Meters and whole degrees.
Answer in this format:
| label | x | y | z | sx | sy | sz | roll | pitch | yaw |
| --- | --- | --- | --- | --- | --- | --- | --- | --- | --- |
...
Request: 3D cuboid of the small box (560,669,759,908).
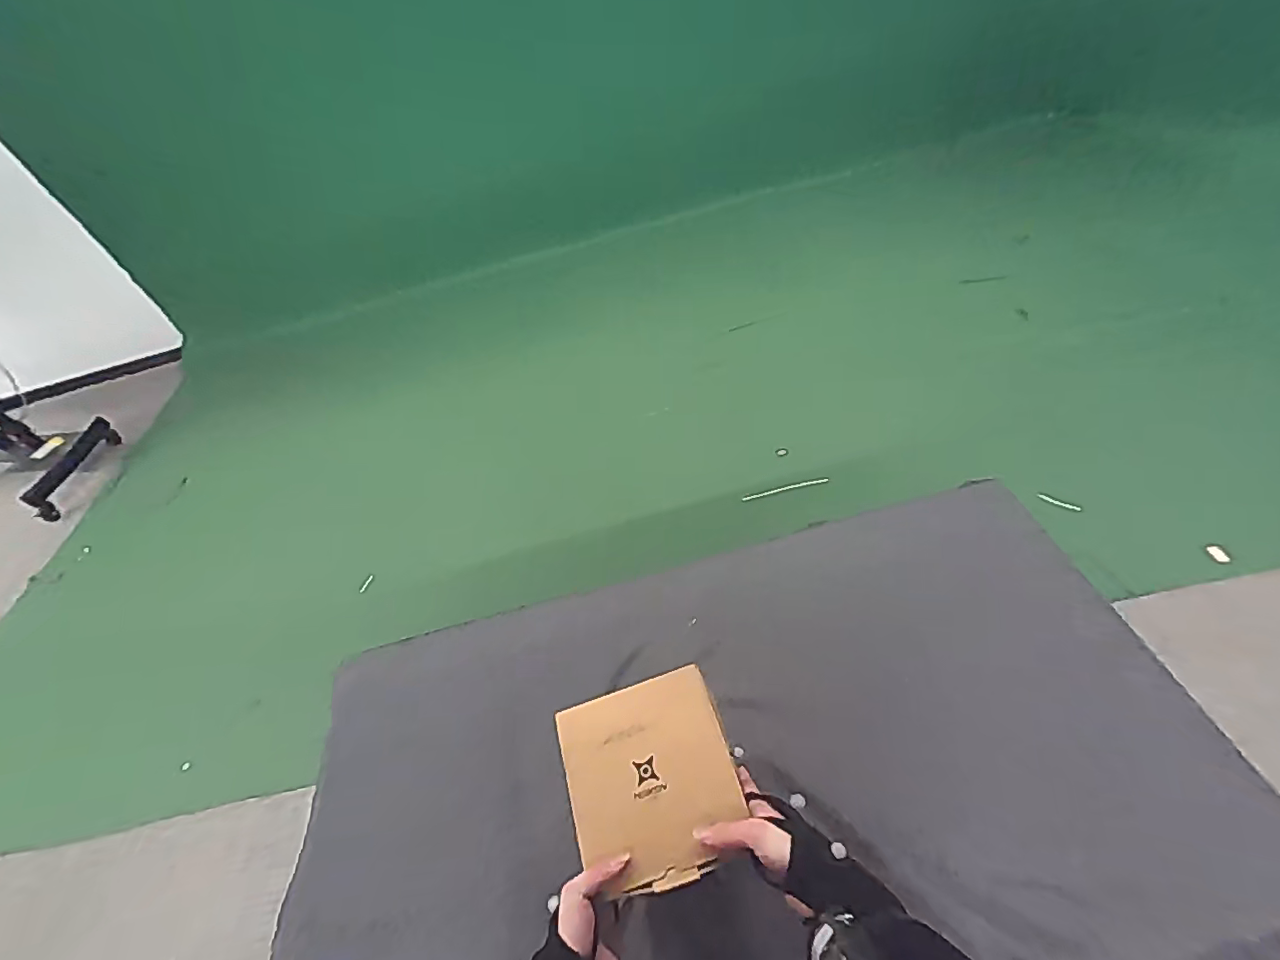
| label | x | y | z | sx | sy | sz | roll | pitch | yaw |
| --- | --- | --- | --- | --- | --- | --- | --- | --- | --- |
| small box | 0.028 | 0.340 | 0.609 | 0.168 | 0.176 | 0.179 | -20 | 56 | 0 |
